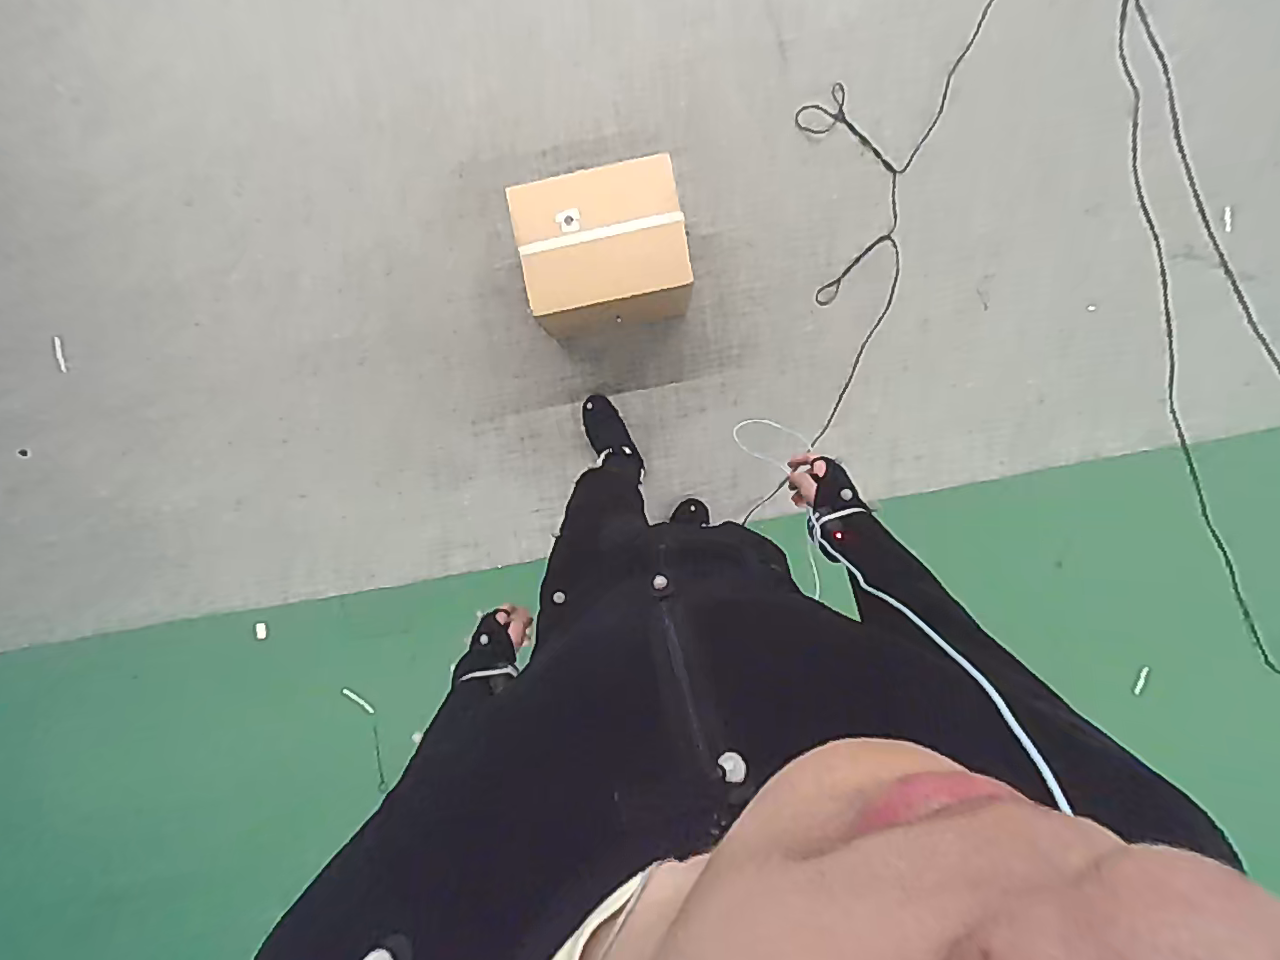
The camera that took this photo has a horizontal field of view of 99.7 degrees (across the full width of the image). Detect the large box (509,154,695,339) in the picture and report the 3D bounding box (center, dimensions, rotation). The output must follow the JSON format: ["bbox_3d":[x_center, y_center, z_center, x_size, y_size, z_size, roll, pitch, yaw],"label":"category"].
[{"bbox_3d":[-0.086,-0.597,1.451,0.408,0.320,0.320,-12,92,4],"label":"large box"}]
